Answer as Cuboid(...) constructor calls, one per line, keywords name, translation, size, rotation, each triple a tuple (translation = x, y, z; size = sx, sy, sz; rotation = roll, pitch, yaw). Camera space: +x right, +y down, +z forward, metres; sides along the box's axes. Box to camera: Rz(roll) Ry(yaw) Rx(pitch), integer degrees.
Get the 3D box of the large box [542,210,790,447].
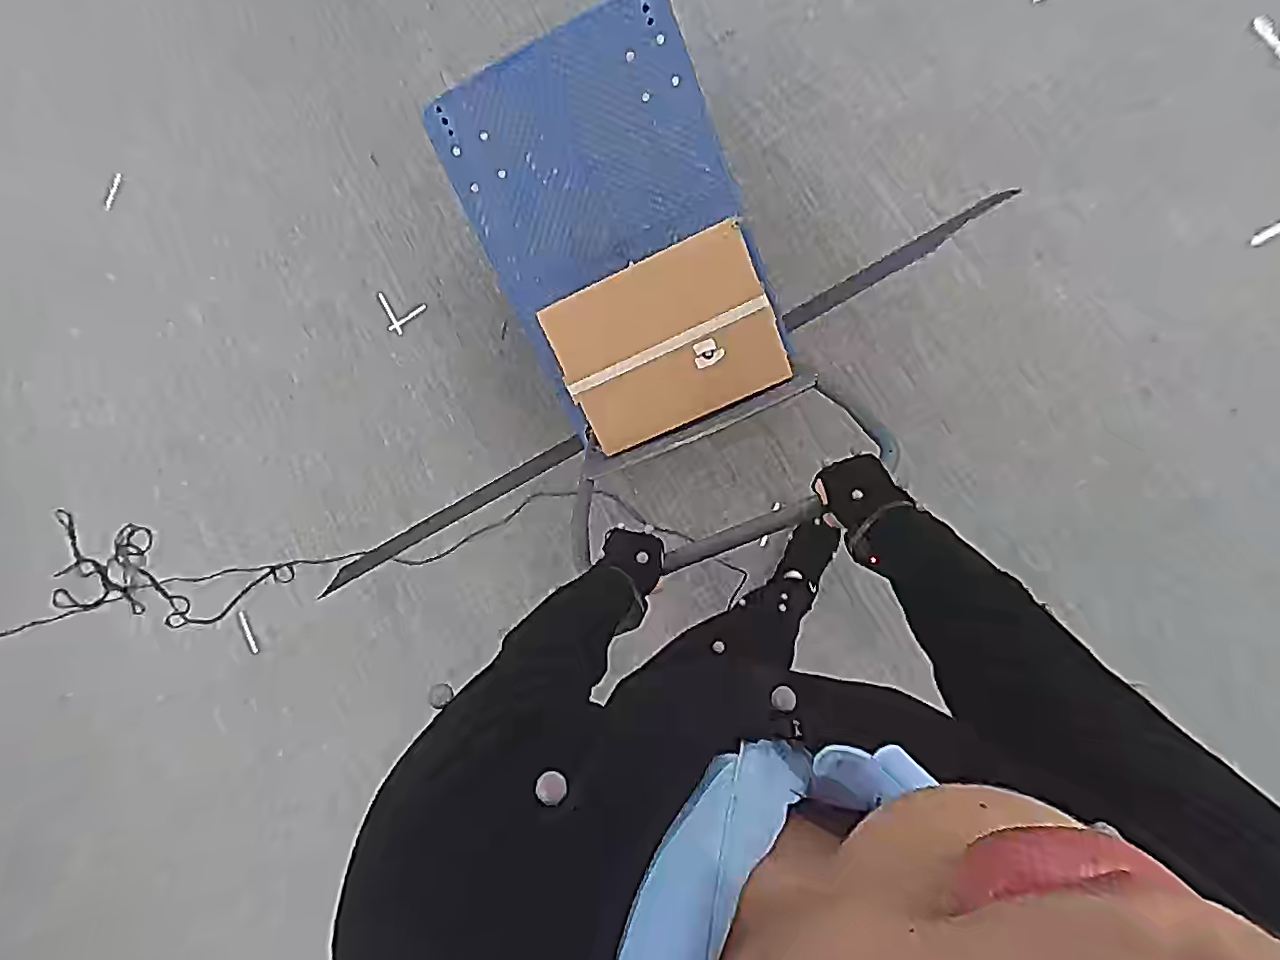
Cuboid(name="large box", translation=(0.052, -0.322, 1.186), size=(0.408, 0.320, 0.320), rotation=(-24, 108, 7))
